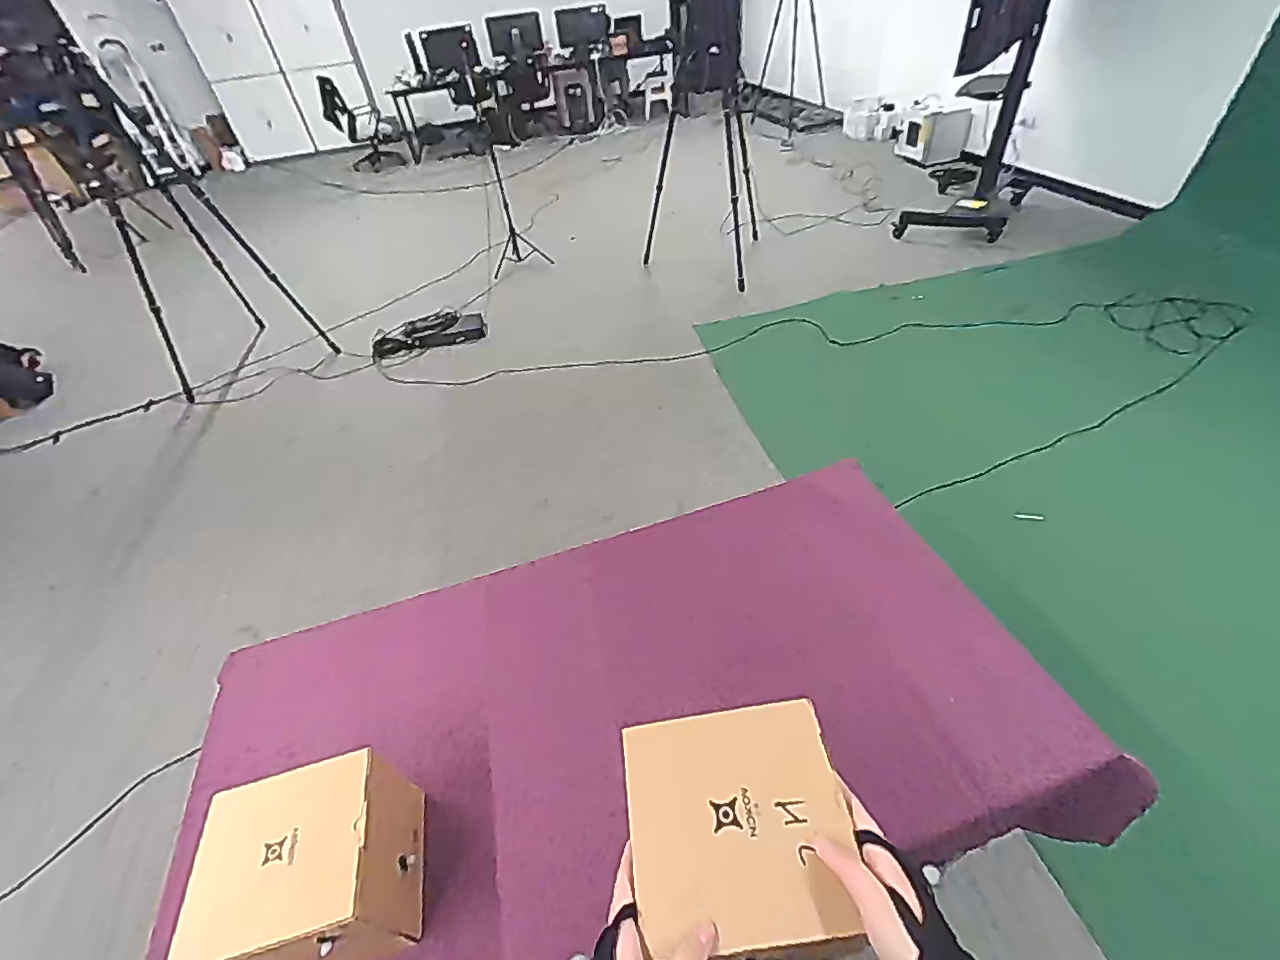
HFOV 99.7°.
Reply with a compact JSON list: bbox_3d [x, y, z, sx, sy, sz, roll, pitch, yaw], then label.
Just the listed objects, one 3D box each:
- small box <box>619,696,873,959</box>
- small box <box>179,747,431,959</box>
[{"bbox_3d":[0.085,0.323,0.491,0.179,0.176,0.168,-10,44,2],"label":"small box"},{"bbox_3d":[-0.365,0.449,0.630,0.179,0.176,0.168,-15,44,-7],"label":"small box"}]
